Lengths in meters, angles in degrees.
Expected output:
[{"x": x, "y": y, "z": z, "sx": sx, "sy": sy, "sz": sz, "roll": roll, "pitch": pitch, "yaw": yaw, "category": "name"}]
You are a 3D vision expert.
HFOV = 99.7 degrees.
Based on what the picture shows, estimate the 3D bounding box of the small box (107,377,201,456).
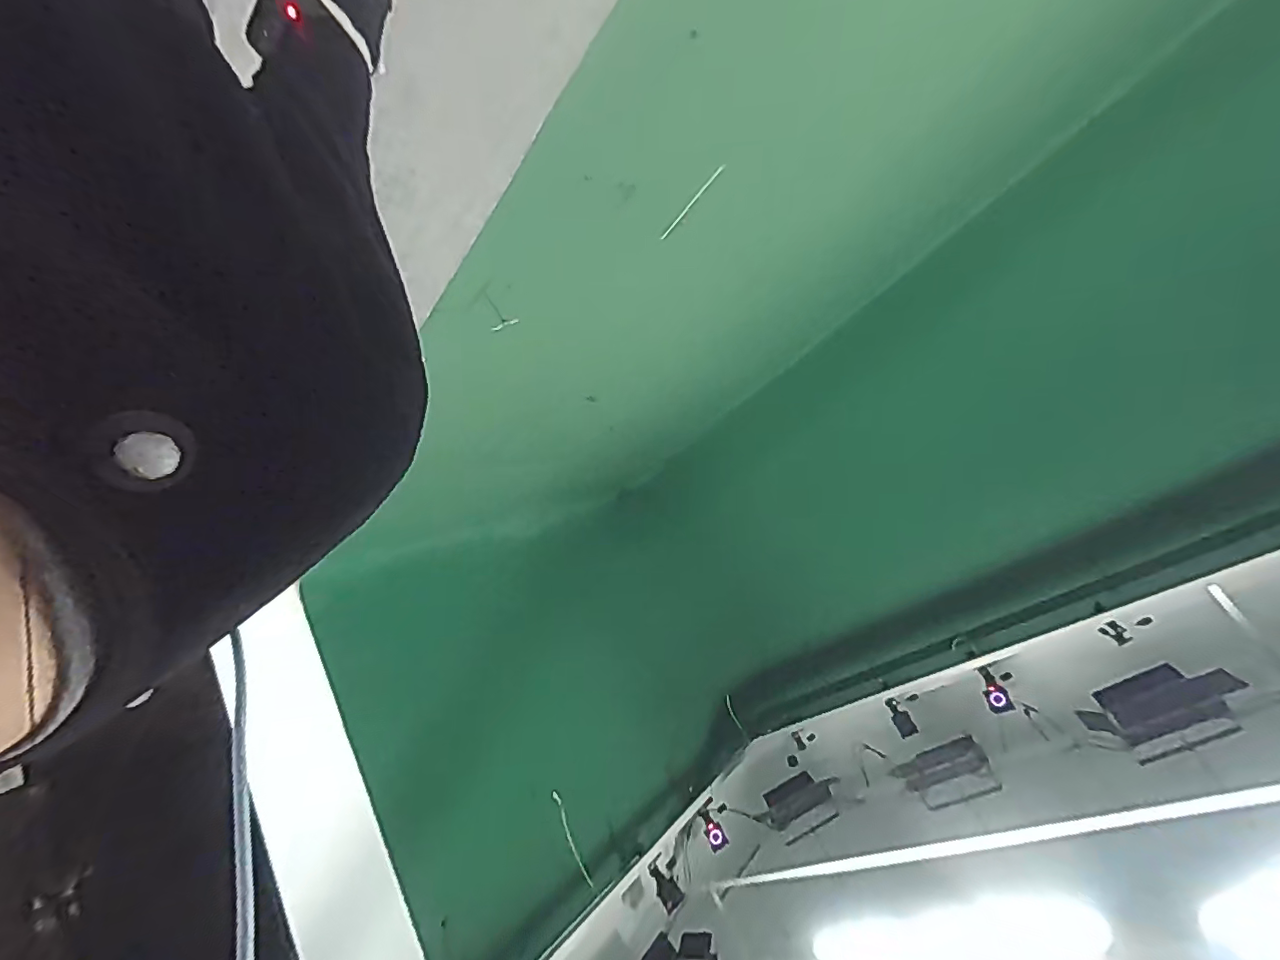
[{"x": -1.455, "y": -0.195, "z": 1.613, "sx": 0.168, "sy": 0.176, "sz": 0.179, "roll": -41, "pitch": 163, "yaw": 35, "category": "small box"}]
